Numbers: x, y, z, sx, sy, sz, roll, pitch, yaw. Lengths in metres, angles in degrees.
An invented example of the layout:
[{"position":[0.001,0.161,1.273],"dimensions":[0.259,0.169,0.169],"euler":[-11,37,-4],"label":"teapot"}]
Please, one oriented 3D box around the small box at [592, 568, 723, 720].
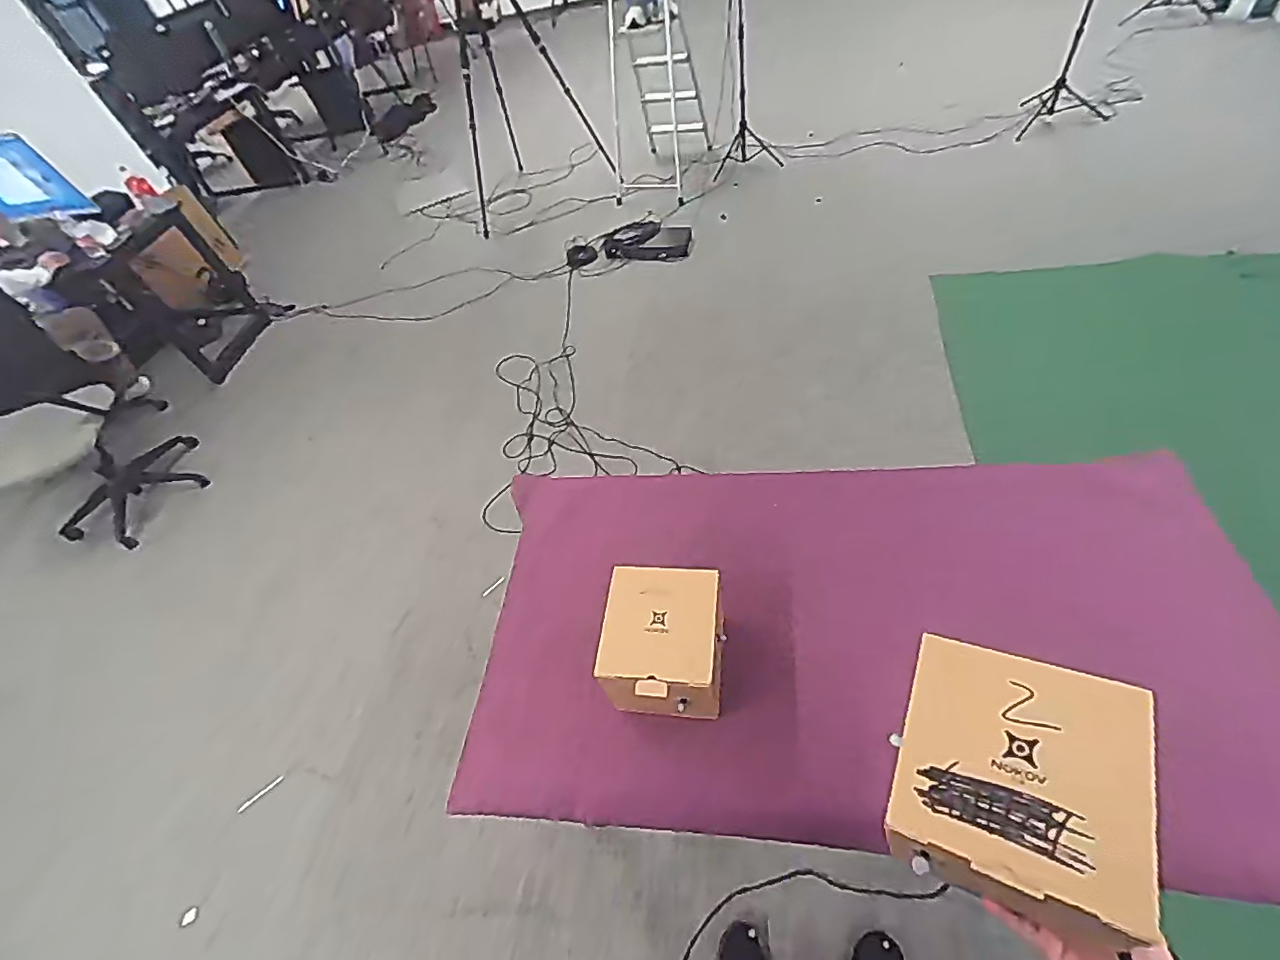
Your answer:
[{"position":[0.039,0.258,0.843],"dimensions":[0.168,0.176,0.179],"euler":[1,51,13],"label":"small box"}]
